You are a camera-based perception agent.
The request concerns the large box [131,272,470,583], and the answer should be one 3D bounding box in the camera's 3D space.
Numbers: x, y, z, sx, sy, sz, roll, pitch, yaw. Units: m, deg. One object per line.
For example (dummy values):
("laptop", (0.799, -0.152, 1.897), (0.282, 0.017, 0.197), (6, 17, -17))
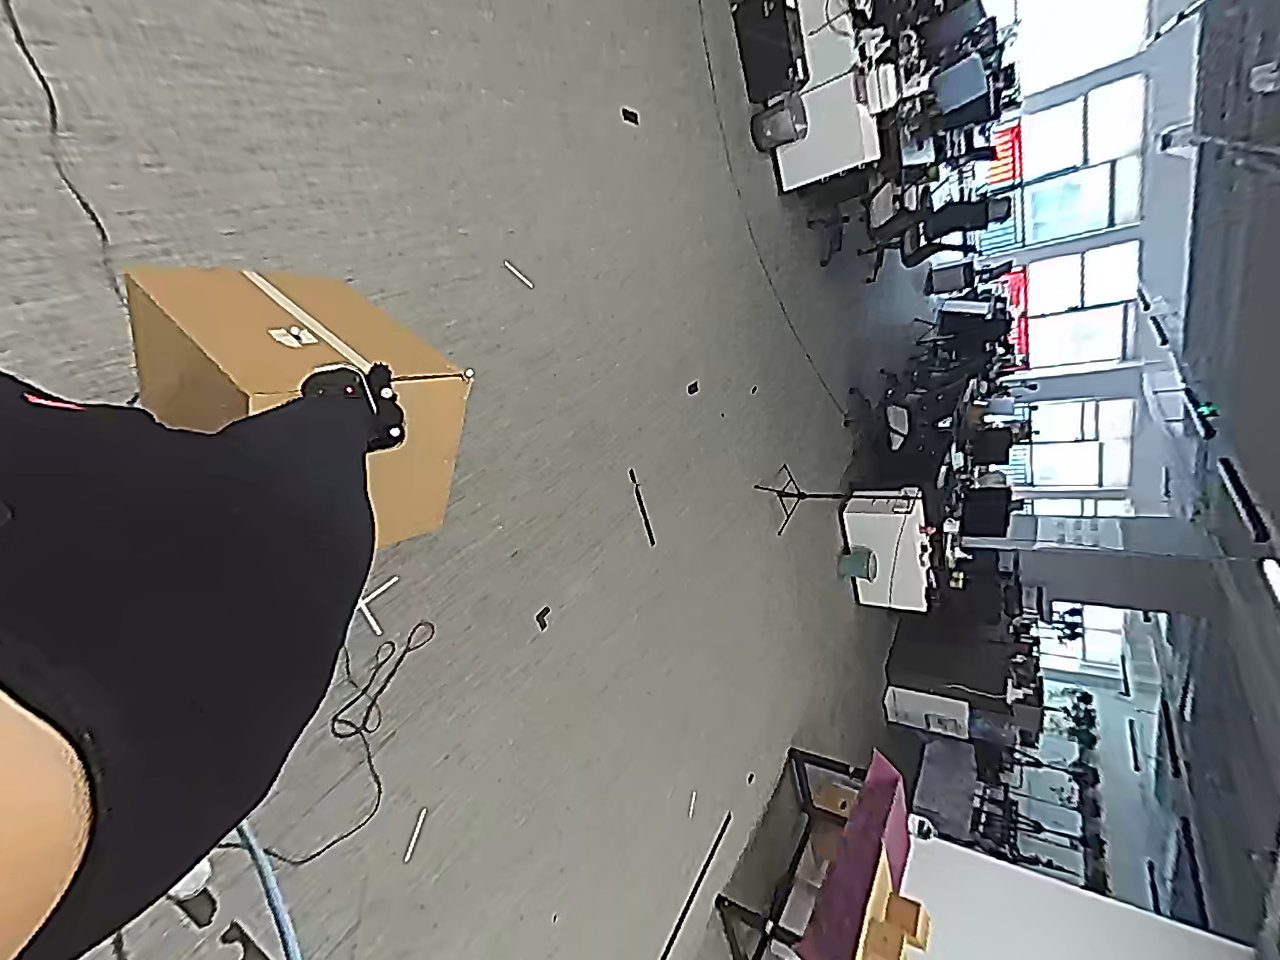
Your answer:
("large box", (-0.561, -0.106, 0.903), (0.320, 0.408, 0.320), (-23, 142, -52))
